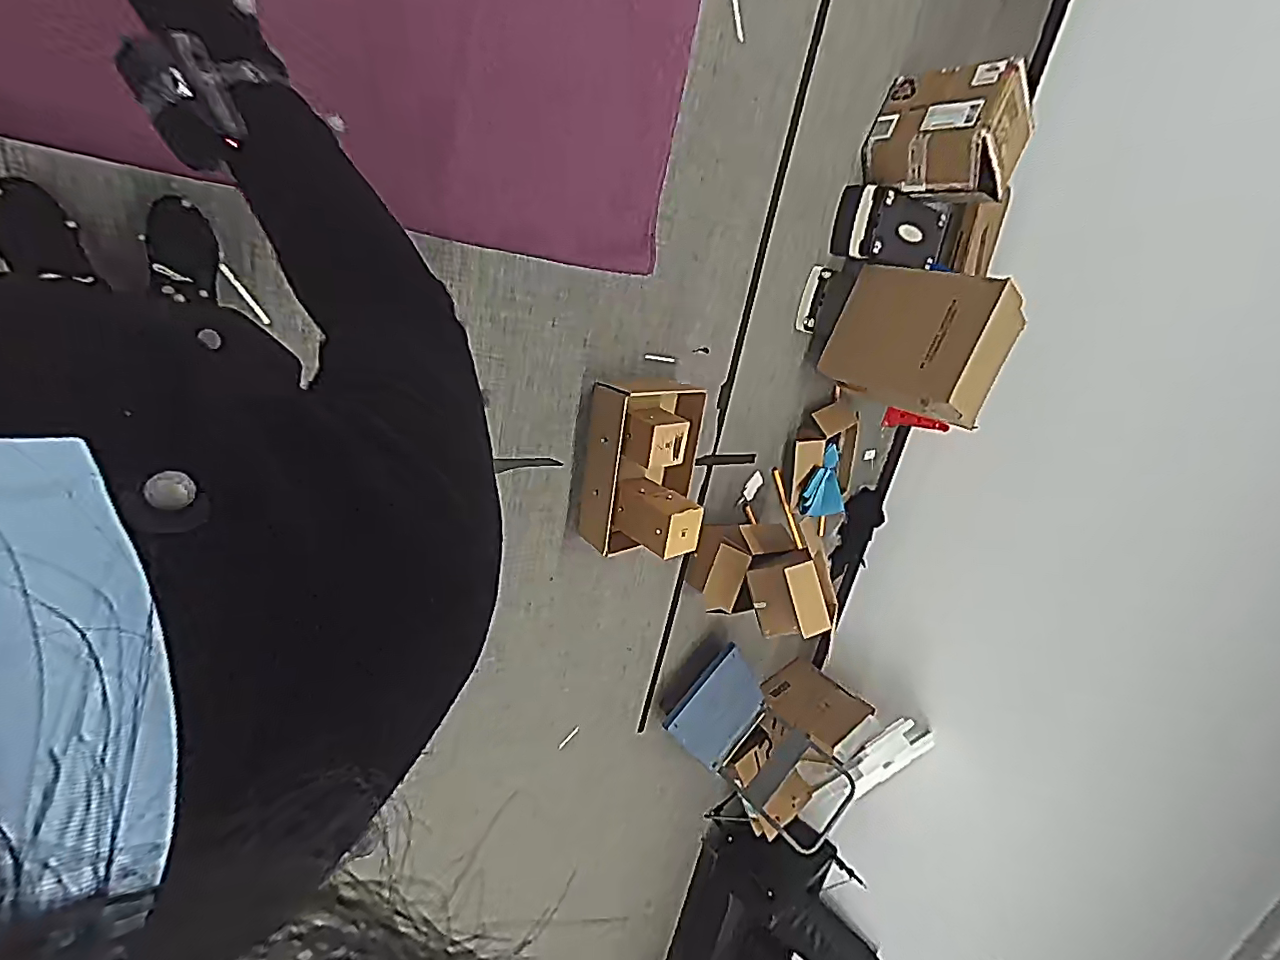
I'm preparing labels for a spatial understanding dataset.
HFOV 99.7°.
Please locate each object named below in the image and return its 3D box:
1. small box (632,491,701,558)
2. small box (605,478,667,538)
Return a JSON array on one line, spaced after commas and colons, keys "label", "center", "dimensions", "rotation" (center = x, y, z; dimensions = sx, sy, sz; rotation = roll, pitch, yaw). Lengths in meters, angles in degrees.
[{"label": "small box", "center": [0.090, 0.156, 1.951], "dimensions": [0.168, 0.176, 0.179], "rotation": [-9, 117, -41]}, {"label": "small box", "center": [-0.014, 0.101, 2.063], "dimensions": [0.179, 0.176, 0.168], "rotation": [-9, 118, -42]}]
